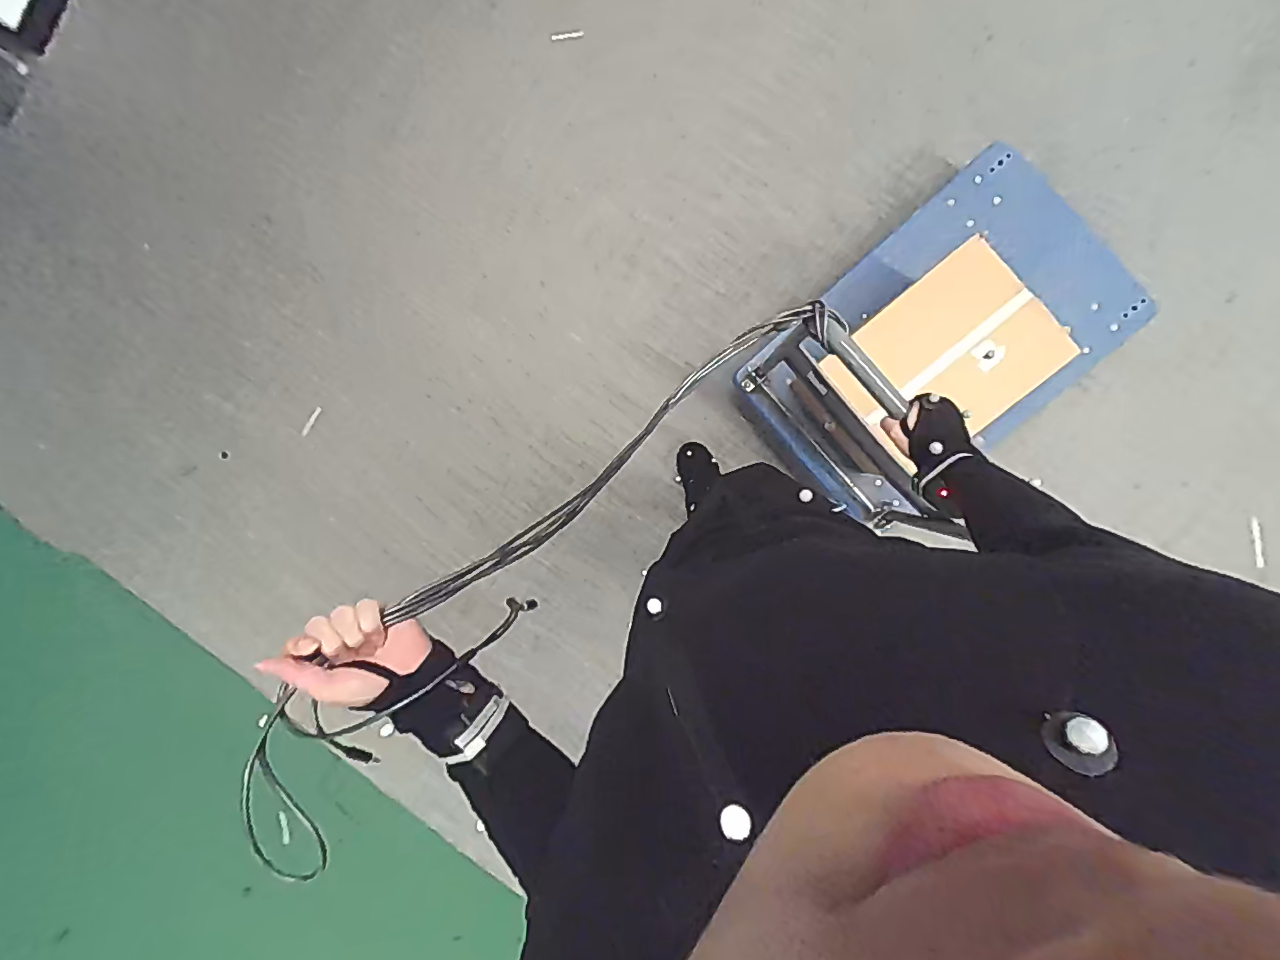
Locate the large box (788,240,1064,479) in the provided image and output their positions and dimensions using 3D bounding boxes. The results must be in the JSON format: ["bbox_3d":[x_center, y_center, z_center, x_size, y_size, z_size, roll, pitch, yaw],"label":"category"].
[{"bbox_3d":[0.613,-0.244,1.244,0.408,0.320,0.320,-40,89,5],"label":"large box"}]
